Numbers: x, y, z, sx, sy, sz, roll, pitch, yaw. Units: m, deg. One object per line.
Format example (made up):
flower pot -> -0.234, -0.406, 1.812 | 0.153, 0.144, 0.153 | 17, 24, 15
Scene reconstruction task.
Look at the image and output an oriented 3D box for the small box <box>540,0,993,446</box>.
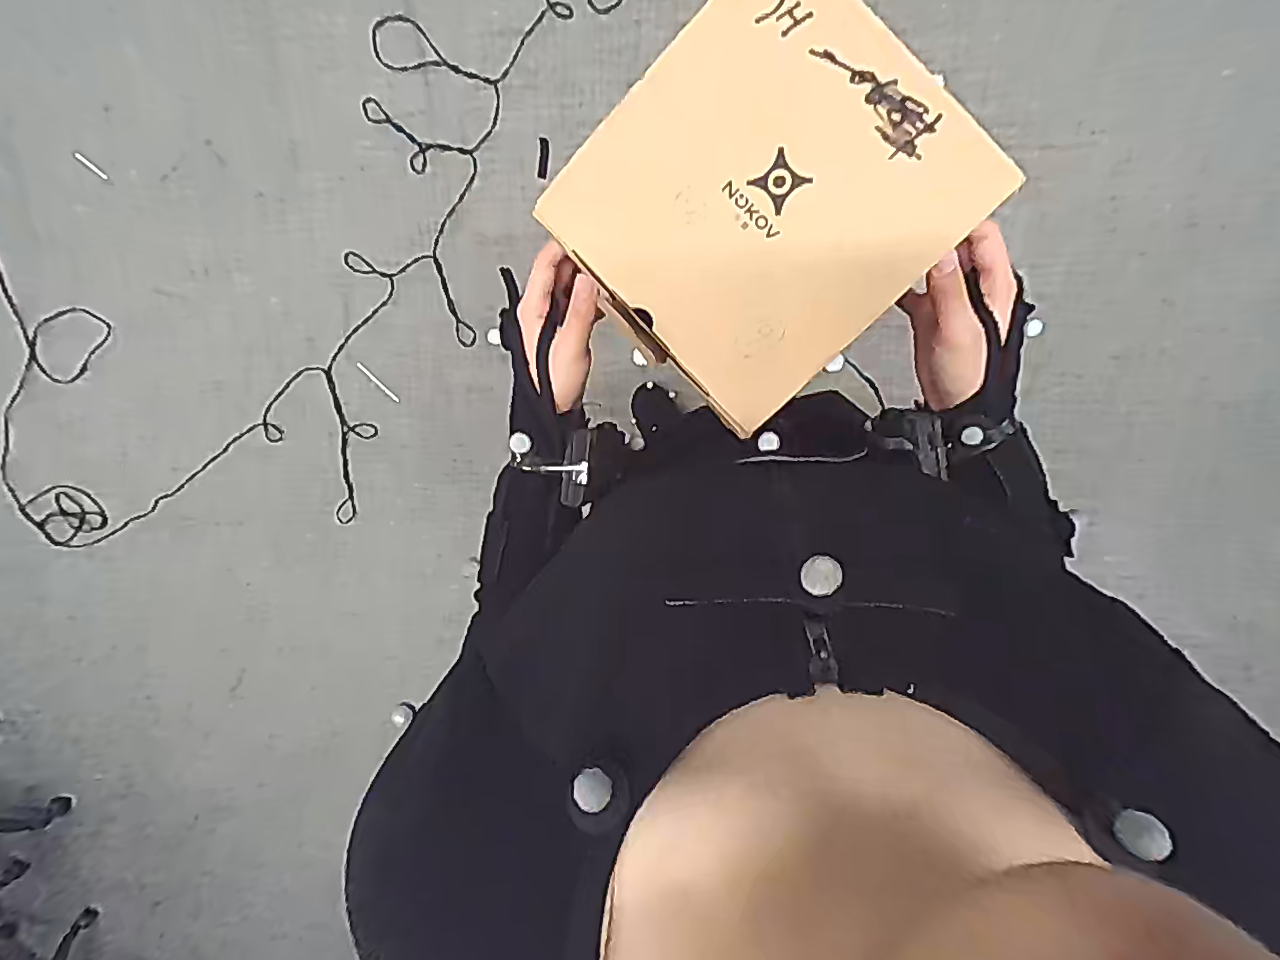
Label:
small box -> 0.071, -0.142, 0.359 | 0.179, 0.176, 0.168 | -44, 90, 11
